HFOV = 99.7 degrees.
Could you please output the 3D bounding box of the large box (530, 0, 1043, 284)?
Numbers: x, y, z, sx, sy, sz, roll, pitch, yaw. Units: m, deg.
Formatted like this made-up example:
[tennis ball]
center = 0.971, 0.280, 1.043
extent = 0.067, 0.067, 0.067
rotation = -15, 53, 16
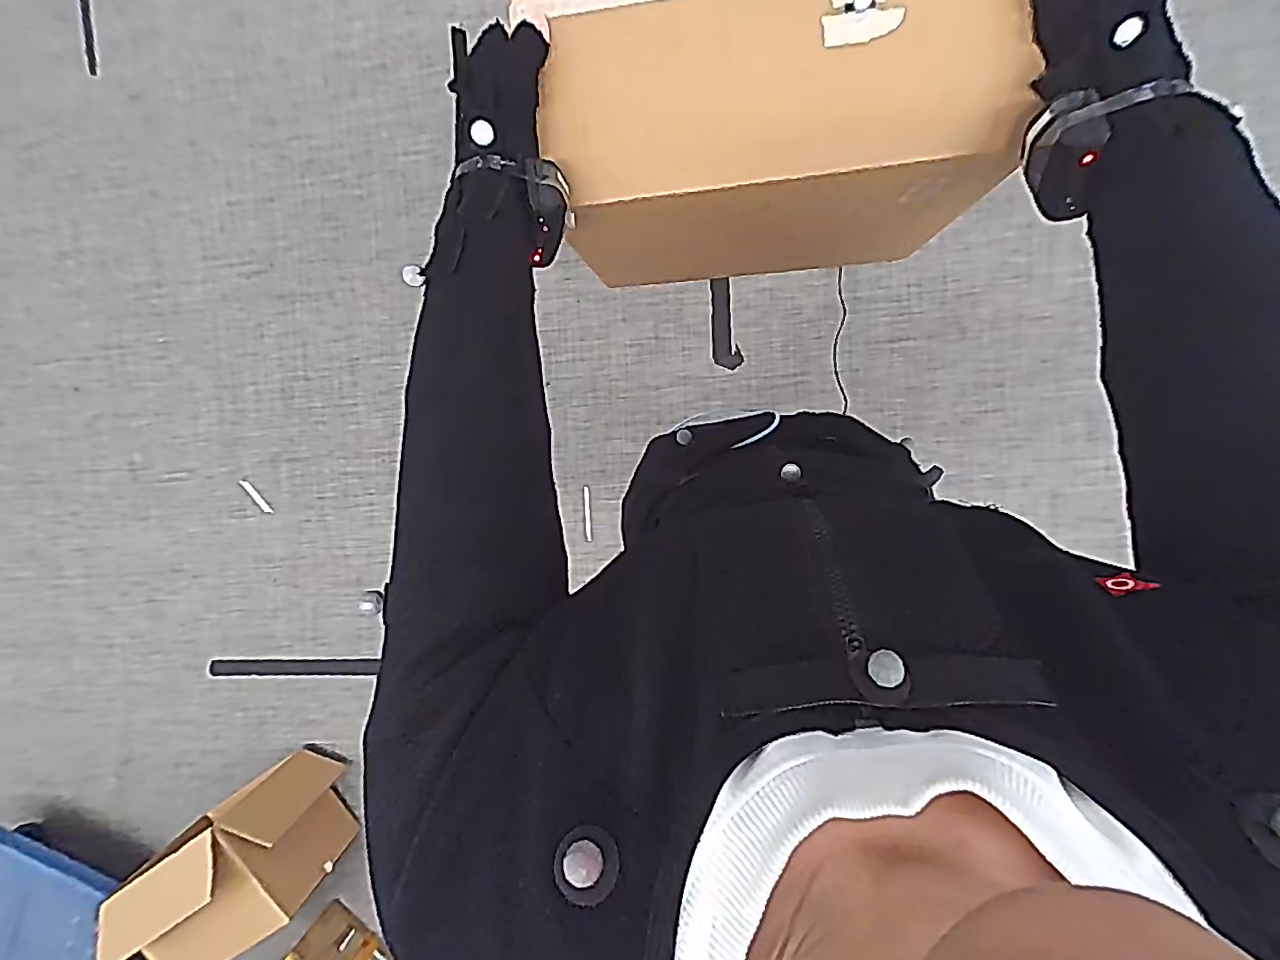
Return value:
[large box]
center = 0.119, -0.421, 0.574
extent = 0.408, 0.320, 0.320
rotation = -4, 97, 7
